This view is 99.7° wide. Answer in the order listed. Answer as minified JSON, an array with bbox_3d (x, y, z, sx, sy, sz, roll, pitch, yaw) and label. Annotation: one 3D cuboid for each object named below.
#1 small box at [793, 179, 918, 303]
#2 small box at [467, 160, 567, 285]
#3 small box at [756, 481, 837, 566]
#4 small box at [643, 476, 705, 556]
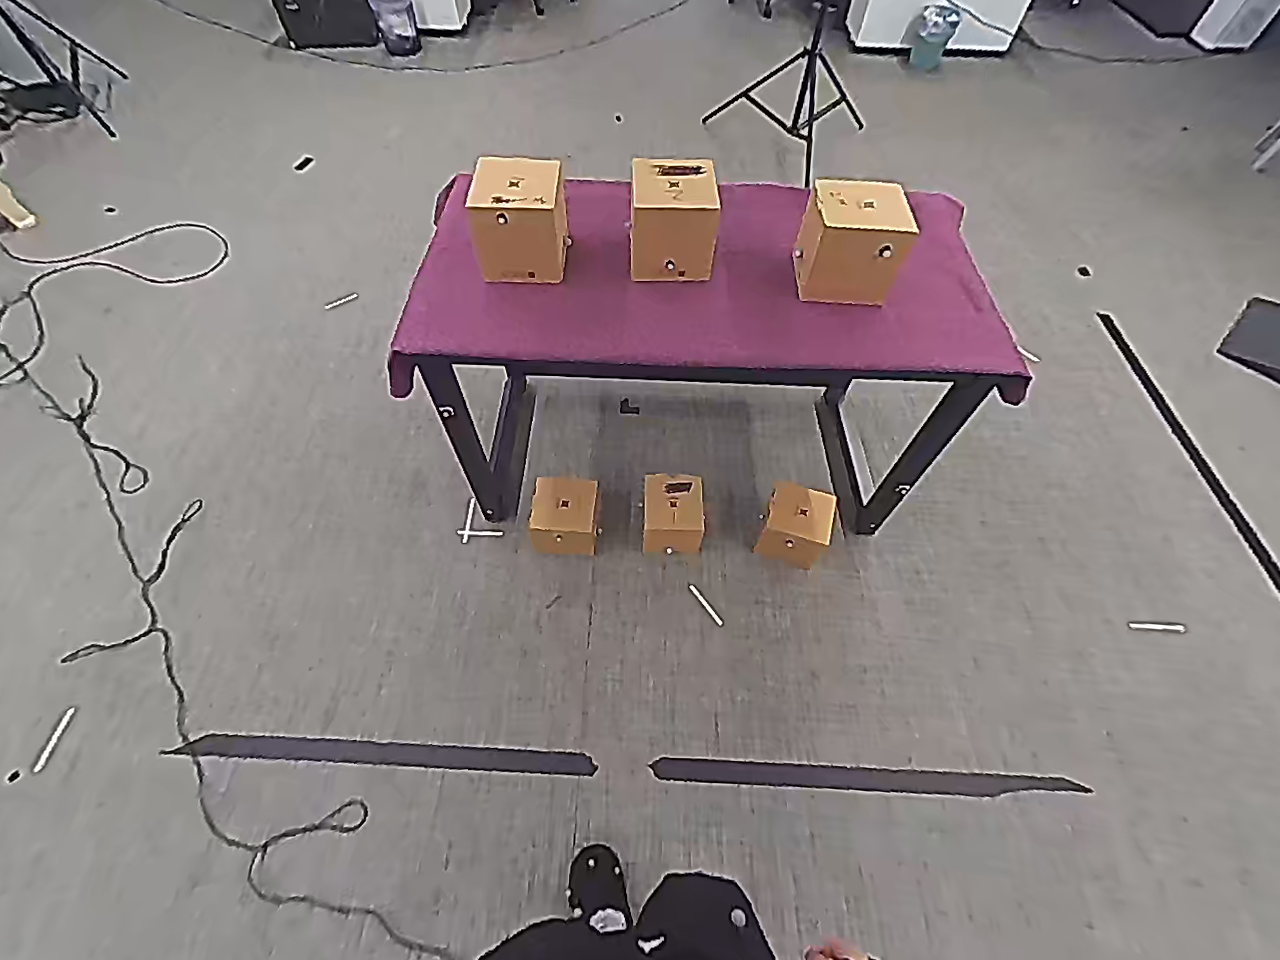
[{"bbox_3d":[0.425,-0.478,1.095,0.179,0.176,0.168,3,56,1],"label":"small box"},{"bbox_3d":[-0.242,-0.527,1.110,0.168,0.176,0.179,0,57,-2],"label":"small box"},{"bbox_3d":[0.450,0.133,1.571,0.179,0.176,0.168,16,59,10],"label":"small box"},{"bbox_3d":[0.094,0.107,1.577,0.168,0.176,0.179,1,58,0],"label":"small box"}]
